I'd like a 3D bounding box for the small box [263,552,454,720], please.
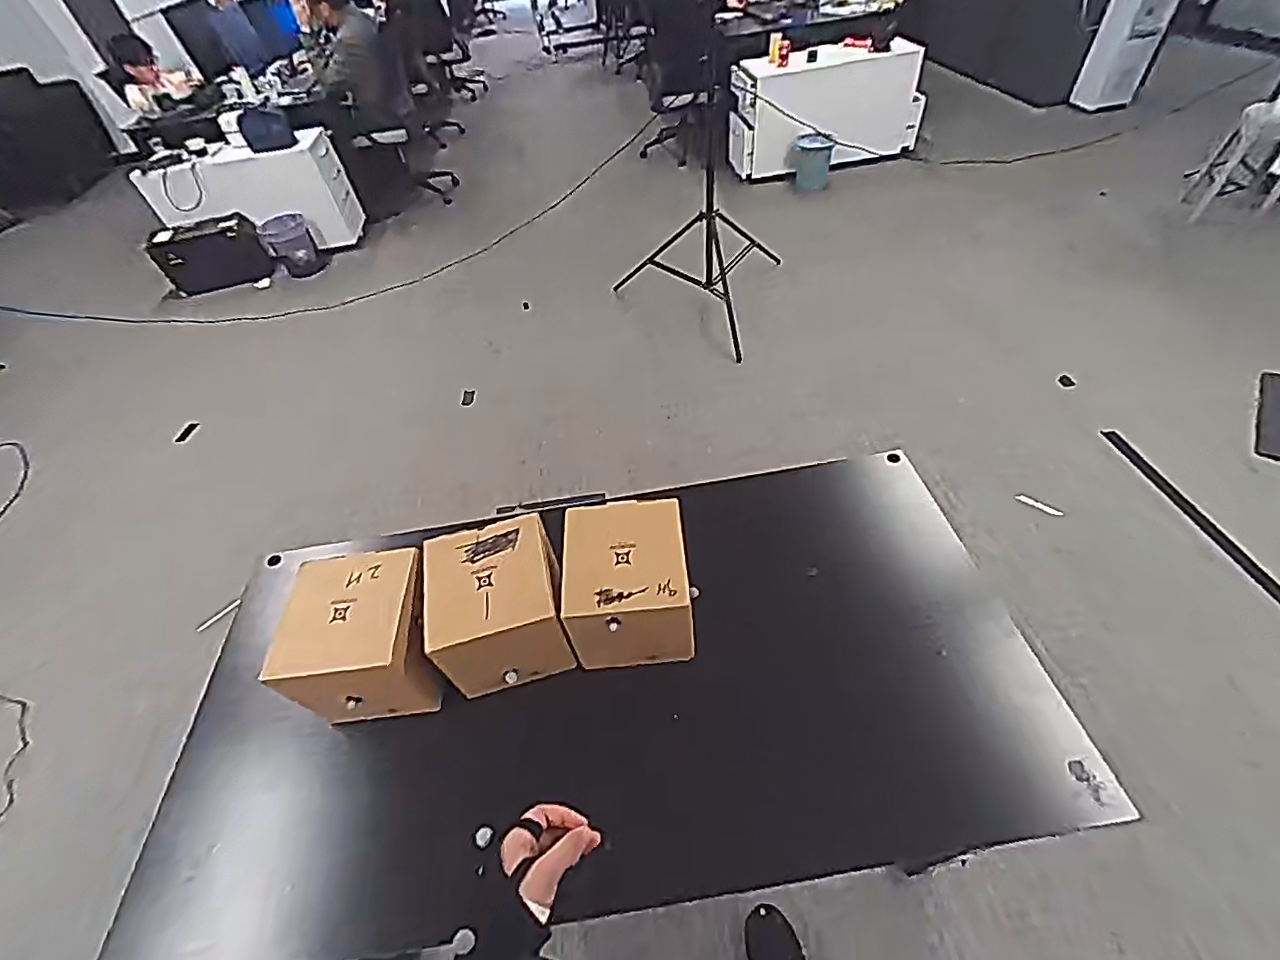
[{"bbox_3d":[-0.383,0.230,0.776,0.168,0.176,0.179,-7,48,0],"label":"small box"}]
